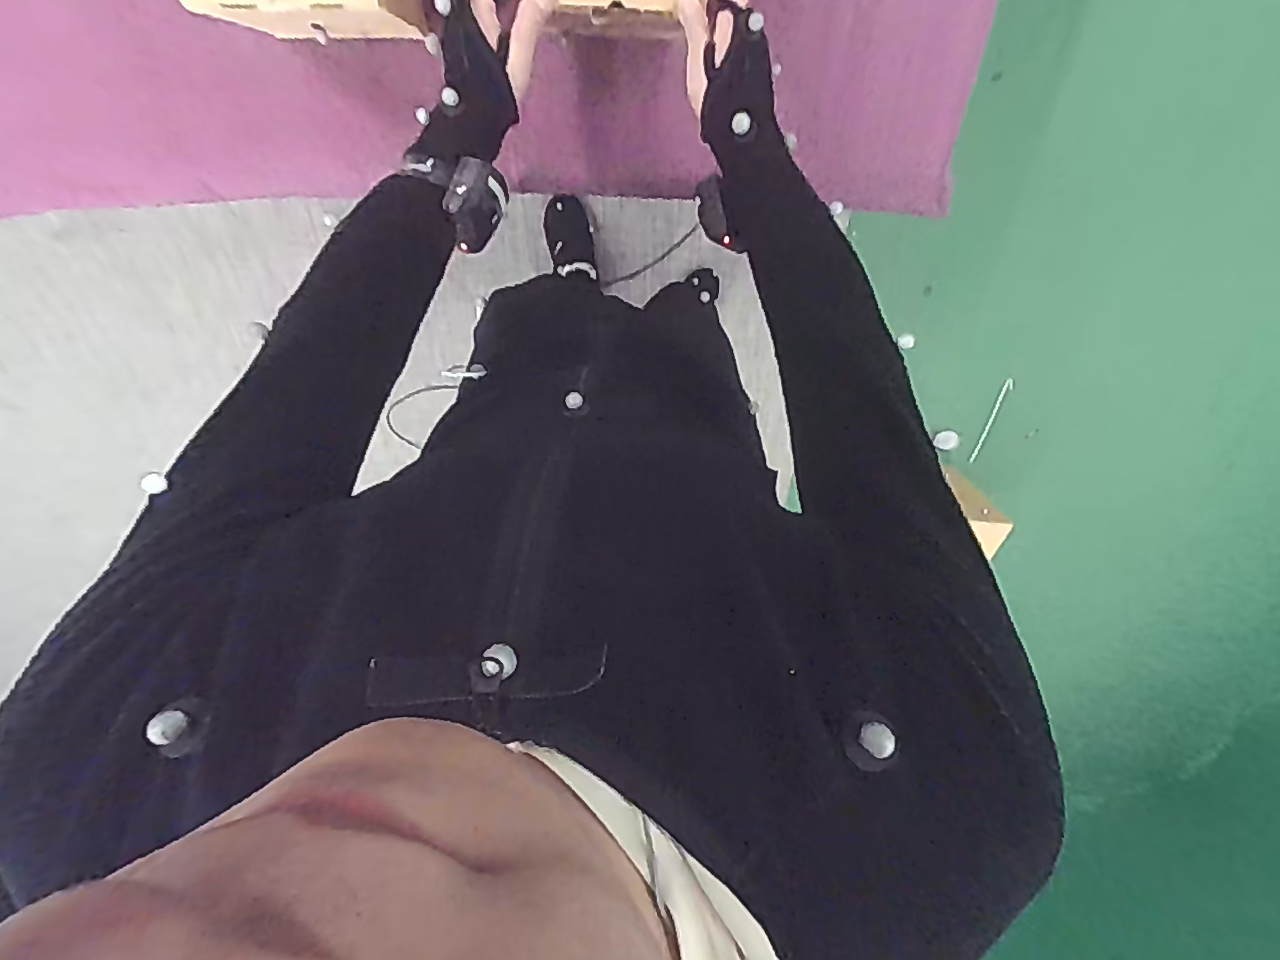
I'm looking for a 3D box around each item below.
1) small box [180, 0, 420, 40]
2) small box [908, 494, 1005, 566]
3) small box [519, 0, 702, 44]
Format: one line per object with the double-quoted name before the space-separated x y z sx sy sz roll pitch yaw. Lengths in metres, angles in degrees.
"small box" -0.315 -0.517 0.484 0.168 0.176 0.179 -3 125 -4
"small box" 1.018 0.161 1.755 0.179 0.176 0.168 5 123 -9
"small box" -0.028 -0.529 0.505 0.168 0.176 0.179 -1 123 -6
